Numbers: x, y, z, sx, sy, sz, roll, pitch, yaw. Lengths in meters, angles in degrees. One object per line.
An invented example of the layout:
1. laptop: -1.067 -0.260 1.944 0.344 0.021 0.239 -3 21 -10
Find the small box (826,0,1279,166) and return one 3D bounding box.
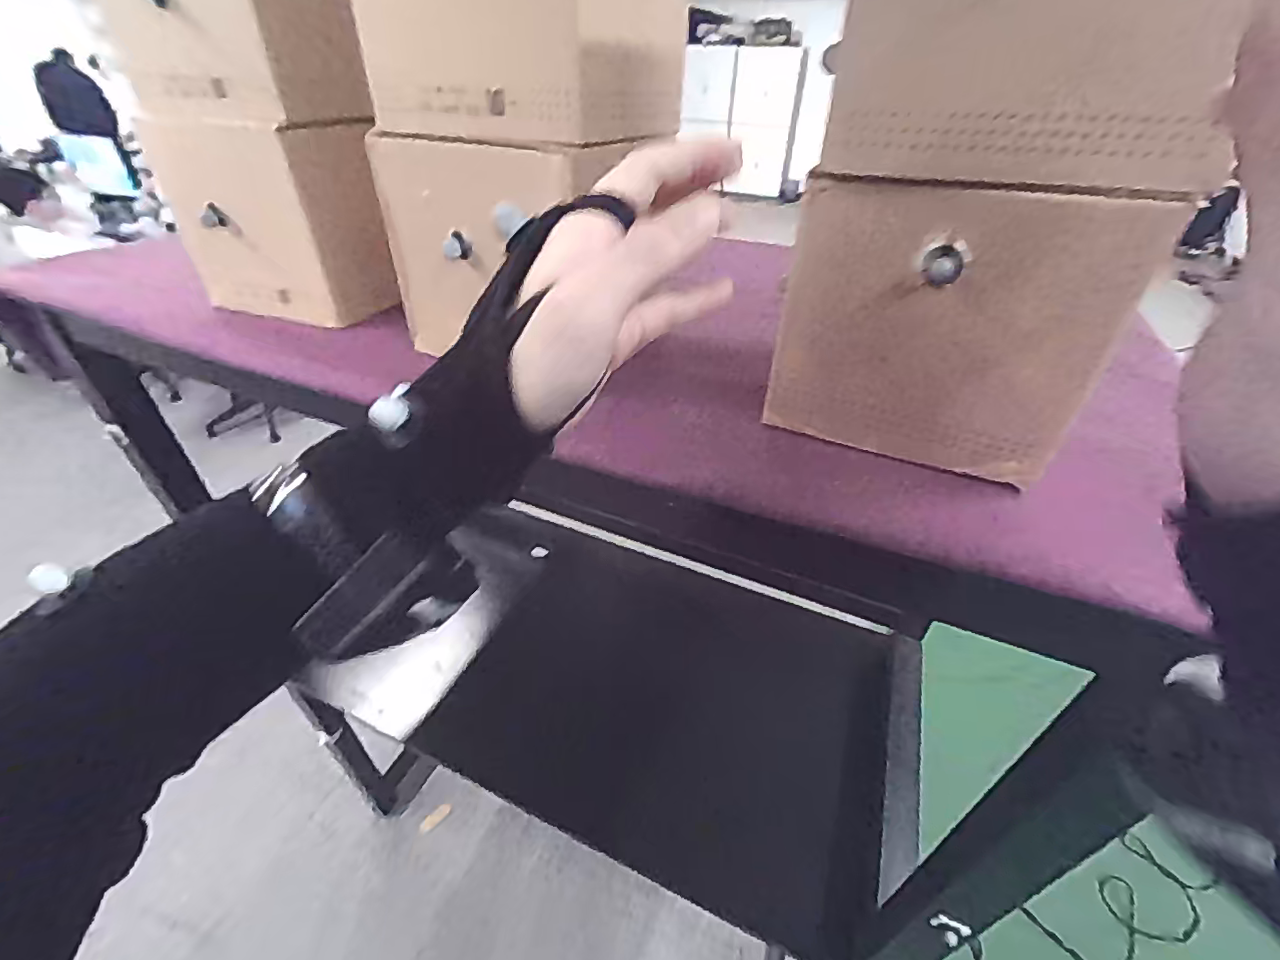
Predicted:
1. small box: 0.202 -0.252 0.249 0.179 0.176 0.168 15 40 18

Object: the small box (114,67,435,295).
1. small box: -0.327 -0.294 0.530 0.168 0.176 0.179 15 39 15
